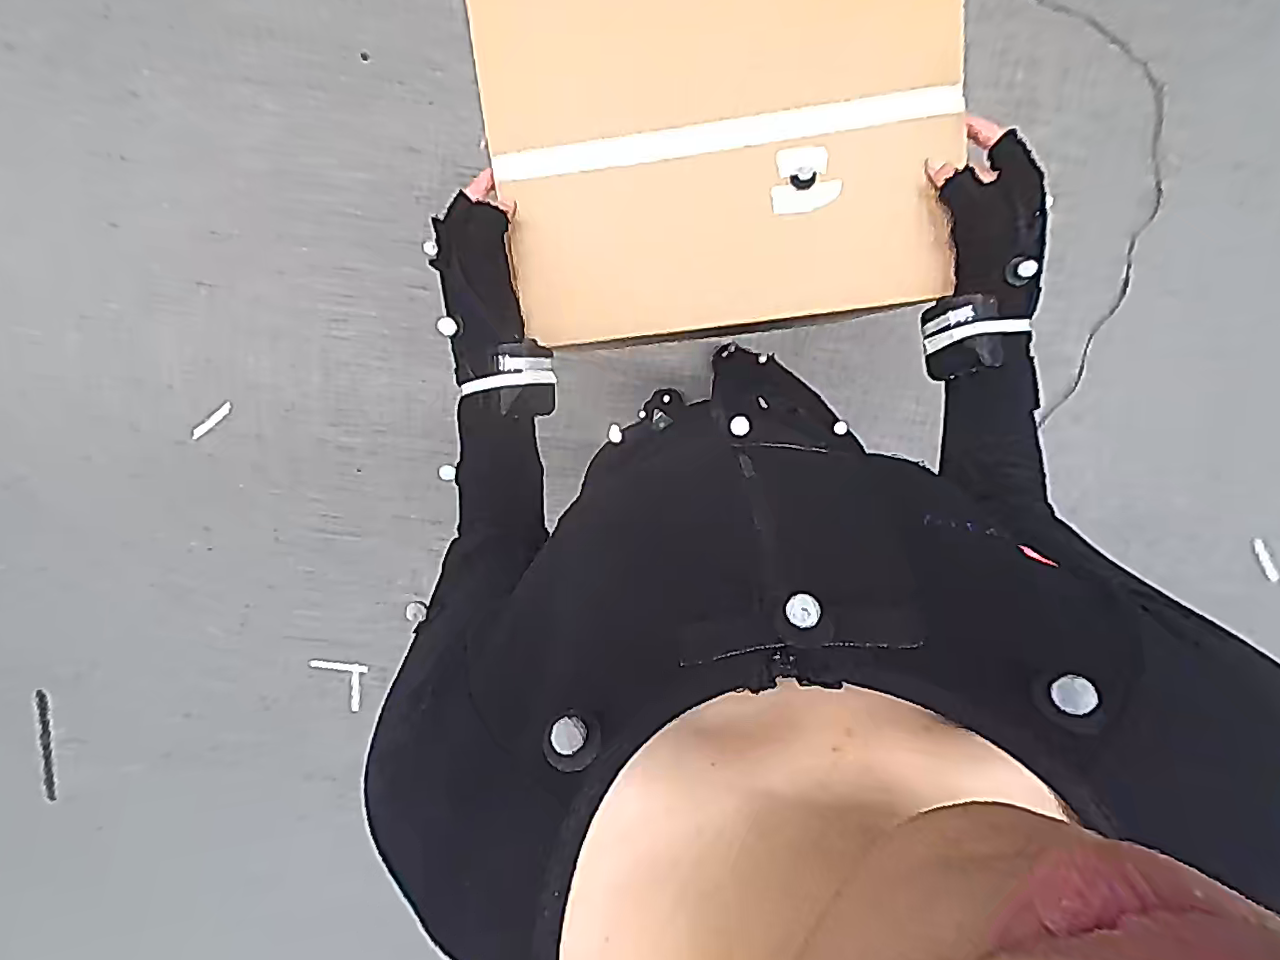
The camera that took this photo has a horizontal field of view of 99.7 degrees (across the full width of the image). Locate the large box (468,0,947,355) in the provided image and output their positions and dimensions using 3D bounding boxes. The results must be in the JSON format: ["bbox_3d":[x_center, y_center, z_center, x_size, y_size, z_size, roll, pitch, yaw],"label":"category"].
[{"bbox_3d":[0.070,-0.334,0.628,0.408,0.320,0.320,-7,102,4],"label":"large box"}]

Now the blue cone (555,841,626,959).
[{"bbox_3d":[-0.169,1.286,1.575,0.193,0.380,0.192,29,101,-2],"label":"blue cone"}]
